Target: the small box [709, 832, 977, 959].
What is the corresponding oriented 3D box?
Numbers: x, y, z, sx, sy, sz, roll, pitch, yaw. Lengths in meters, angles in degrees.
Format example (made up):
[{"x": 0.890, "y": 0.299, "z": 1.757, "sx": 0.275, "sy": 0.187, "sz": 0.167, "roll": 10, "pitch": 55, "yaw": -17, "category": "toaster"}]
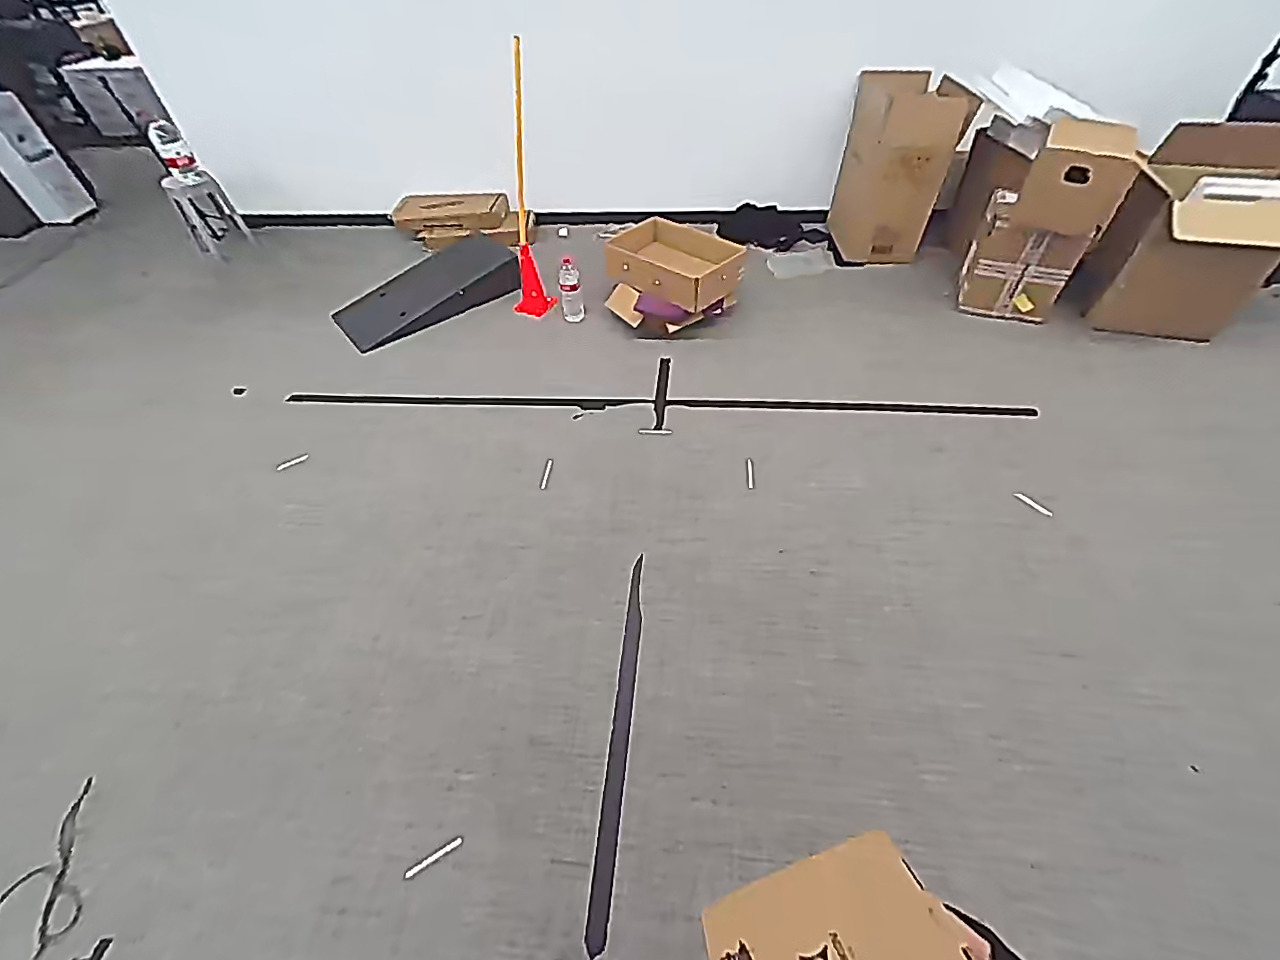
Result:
[{"x": 0.174, "y": 0.425, "z": 0.406, "sx": 0.179, "sy": 0.176, "sz": 0.168, "roll": -23, "pitch": 7, "yaw": 0, "category": "small box"}]
